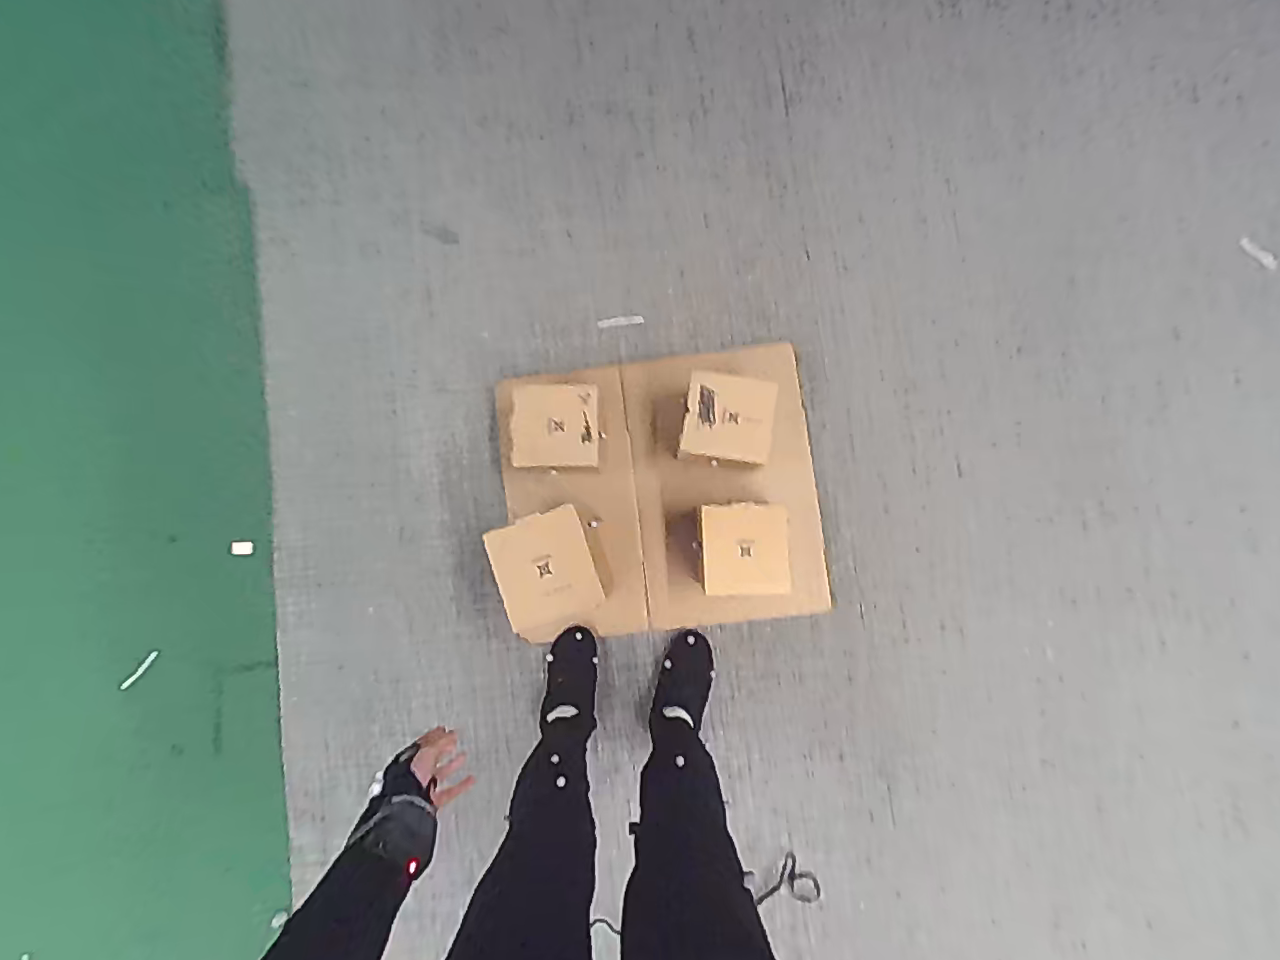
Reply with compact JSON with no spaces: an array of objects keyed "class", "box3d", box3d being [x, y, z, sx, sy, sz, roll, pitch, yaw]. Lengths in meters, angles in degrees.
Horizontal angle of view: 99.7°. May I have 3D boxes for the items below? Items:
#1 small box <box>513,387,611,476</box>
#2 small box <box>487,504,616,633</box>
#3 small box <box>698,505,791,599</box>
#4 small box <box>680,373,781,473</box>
[{"class":"small box","box3d":[-0.161,-0.097,1.156,0.179,0.176,0.168,0,85,3]},{"class":"small box","box3d":[-0.150,0.152,0.969,0.168,0.176,0.179,-19,85,2]},{"class":"small box","box3d":[0.209,0.143,1.113,0.168,0.176,0.179,-3,84,3]},{"class":"small box","box3d":[0.181,-0.111,1.134,0.179,0.176,0.168,9,86,2]}]
